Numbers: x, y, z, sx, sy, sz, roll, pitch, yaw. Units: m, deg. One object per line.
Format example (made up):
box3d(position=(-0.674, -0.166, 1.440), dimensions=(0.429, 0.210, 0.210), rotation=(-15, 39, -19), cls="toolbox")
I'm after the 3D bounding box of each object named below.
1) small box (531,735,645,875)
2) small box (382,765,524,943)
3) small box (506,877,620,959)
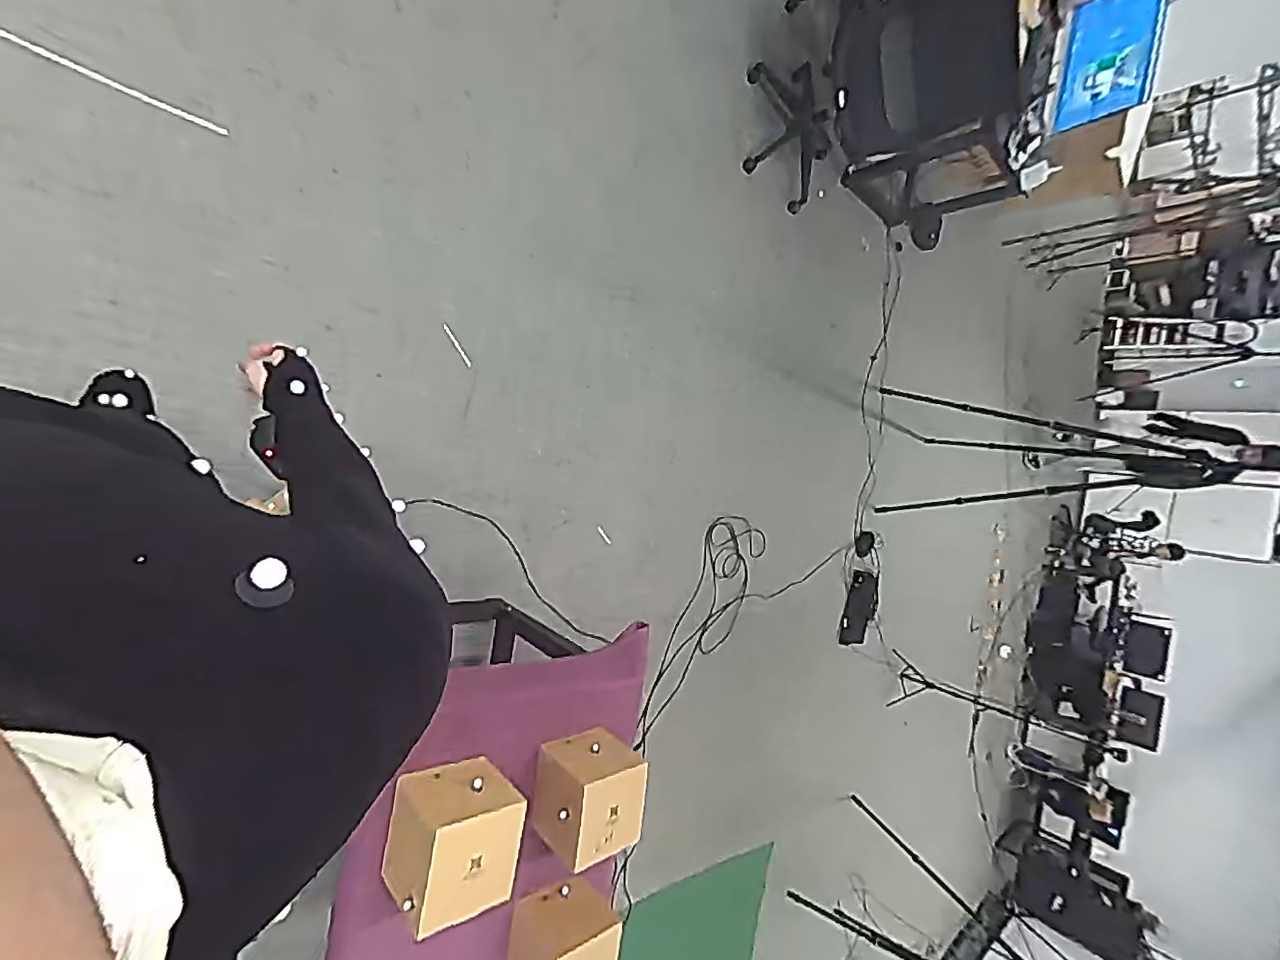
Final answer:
box3d(position=(-0.112, 0.657, 1.127), dimensions=(0.168, 0.176, 0.179), rotation=(5, 93, -41), cls="small box")
box3d(position=(-0.325, 0.621, 0.932), dimensions=(0.168, 0.176, 0.179), rotation=(10, 90, -43), cls="small box")
box3d(position=(-0.166, 0.991, 1.128), dimensions=(0.168, 0.176, 0.179), rotation=(8, 90, -42), cls="small box")
